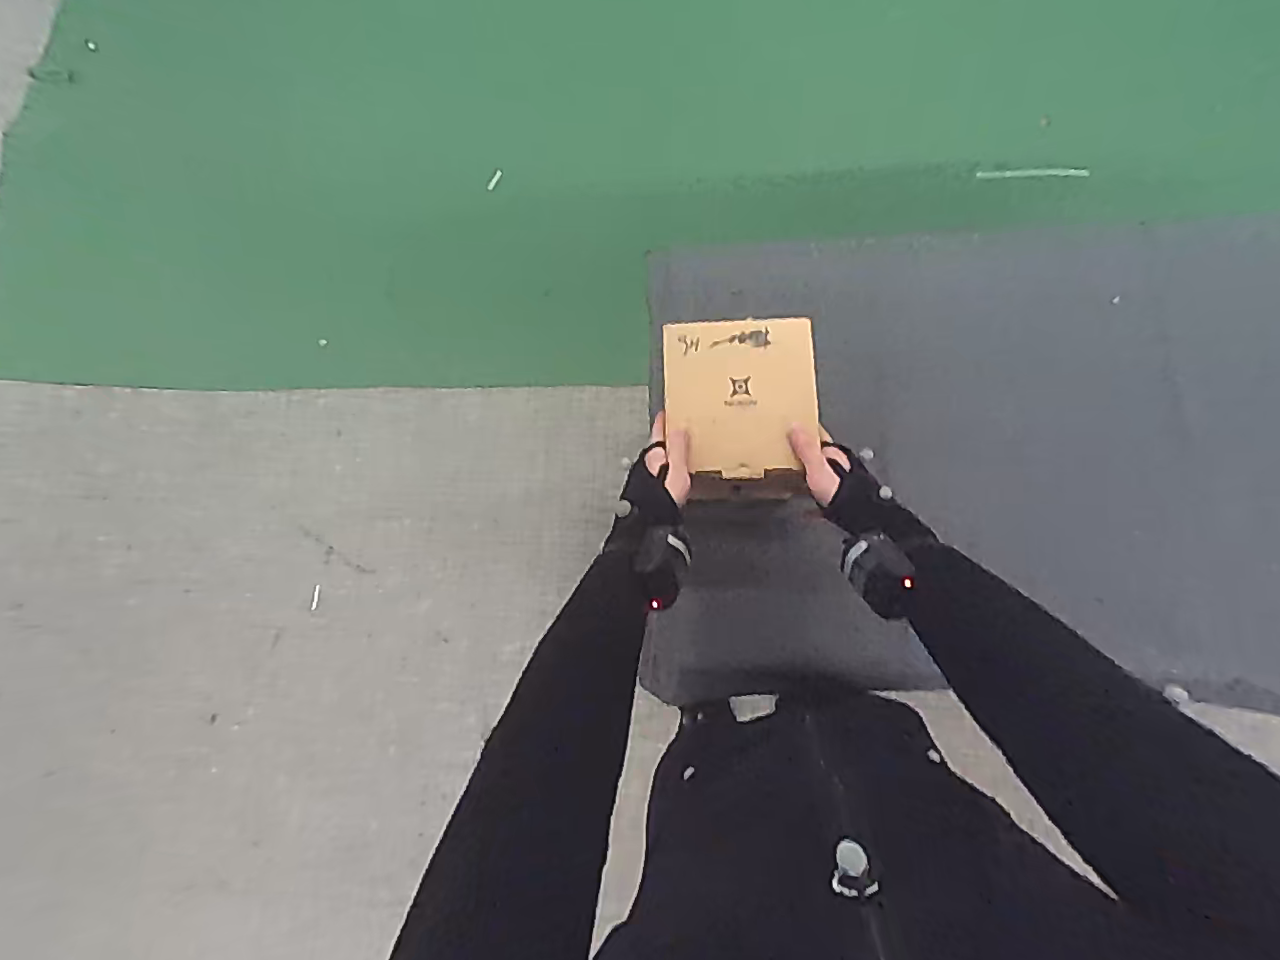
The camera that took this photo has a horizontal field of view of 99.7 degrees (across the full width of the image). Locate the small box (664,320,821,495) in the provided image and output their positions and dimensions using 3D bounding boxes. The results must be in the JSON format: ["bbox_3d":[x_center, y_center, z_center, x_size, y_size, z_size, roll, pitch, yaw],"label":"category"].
[{"bbox_3d":[0.114,-0.075,0.660,0.168,0.176,0.179,-1,79,3],"label":"small box"}]
